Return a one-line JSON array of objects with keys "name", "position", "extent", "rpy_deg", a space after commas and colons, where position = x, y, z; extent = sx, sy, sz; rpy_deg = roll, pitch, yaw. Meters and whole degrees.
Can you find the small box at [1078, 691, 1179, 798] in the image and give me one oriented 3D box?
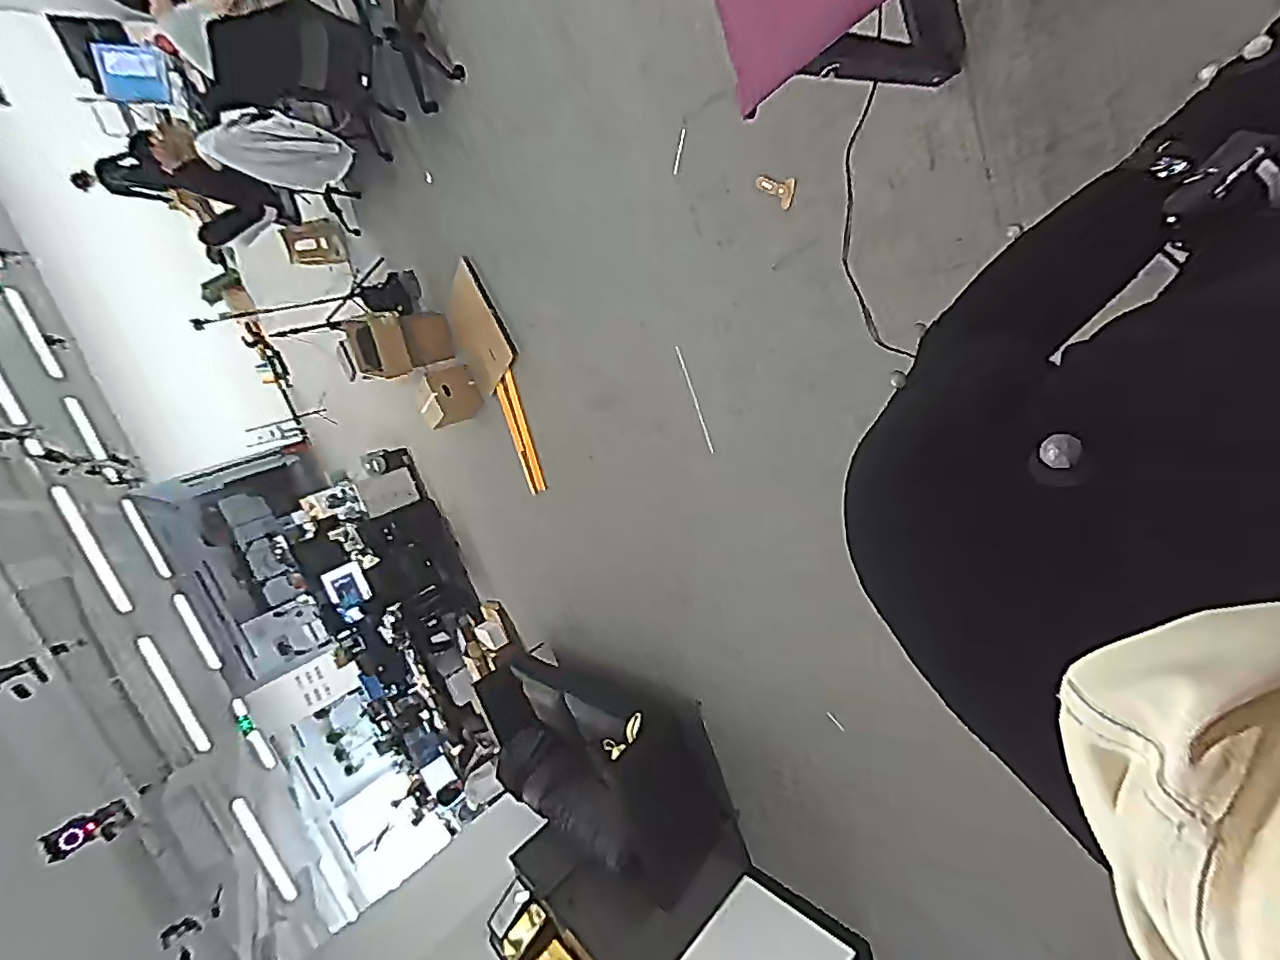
[{"name": "small box", "position": [1.323, 0.702, 1.460], "extent": [0.179, 0.176, 0.168], "rpy_deg": [0, 112, 54]}]
